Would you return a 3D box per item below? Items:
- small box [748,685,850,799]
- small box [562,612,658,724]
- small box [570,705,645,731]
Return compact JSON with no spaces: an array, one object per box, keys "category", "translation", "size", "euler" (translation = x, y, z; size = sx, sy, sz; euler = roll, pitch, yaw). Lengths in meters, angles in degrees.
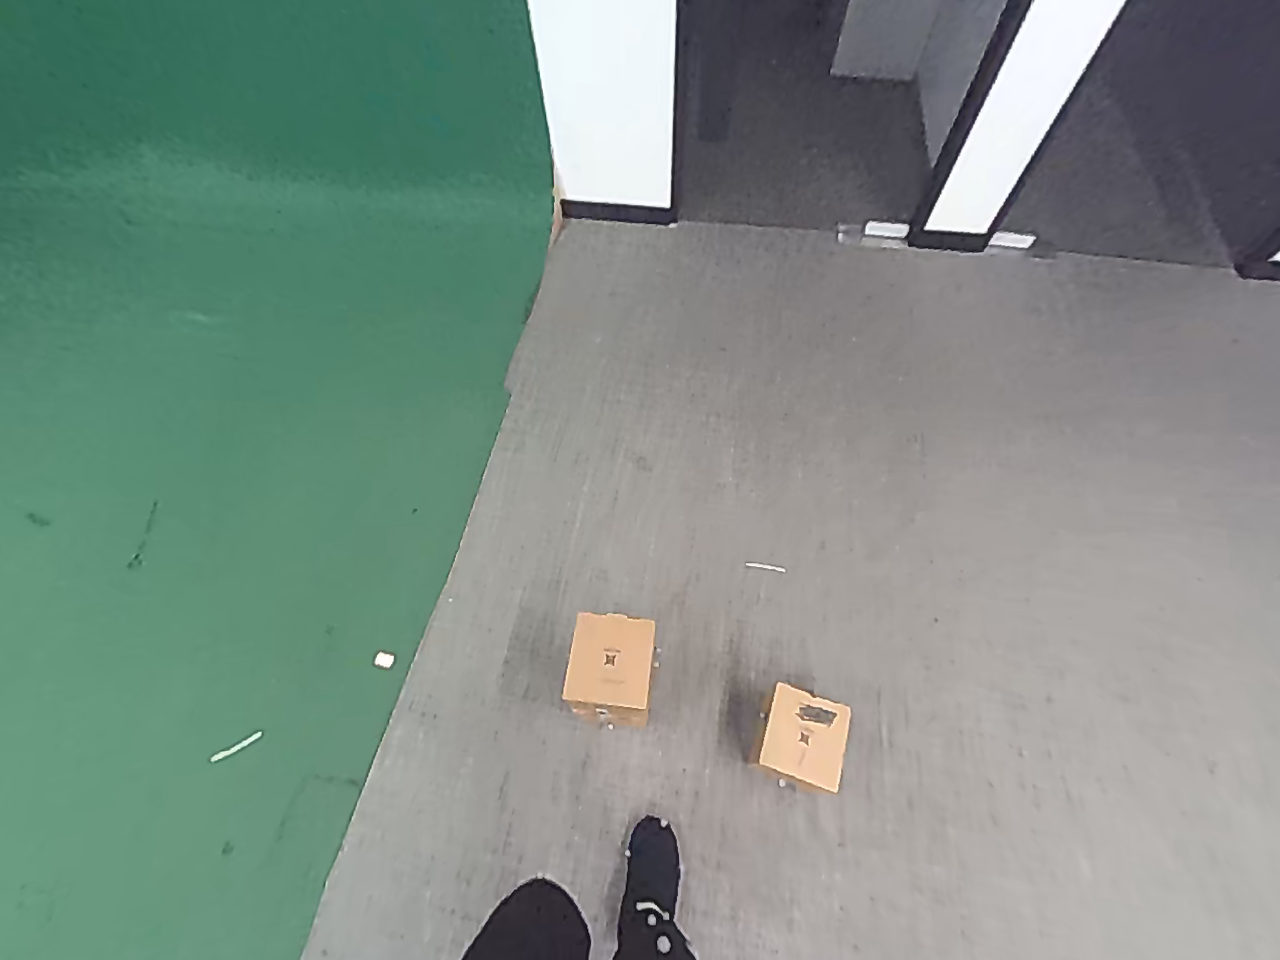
[{"category":"small box","translation":[0.348,0.586,1.206],"size":[0.168,0.176,0.179],"euler":[17,62,11]},{"category":"small box","translation":[-0.055,0.398,1.136],"size":[0.168,0.176,0.179],"euler":[6,58,7]},{"category":"small box","translation":[-0.062,0.480,1.274],"size":[0.168,0.176,0.179],"euler":[5,60,4]}]
